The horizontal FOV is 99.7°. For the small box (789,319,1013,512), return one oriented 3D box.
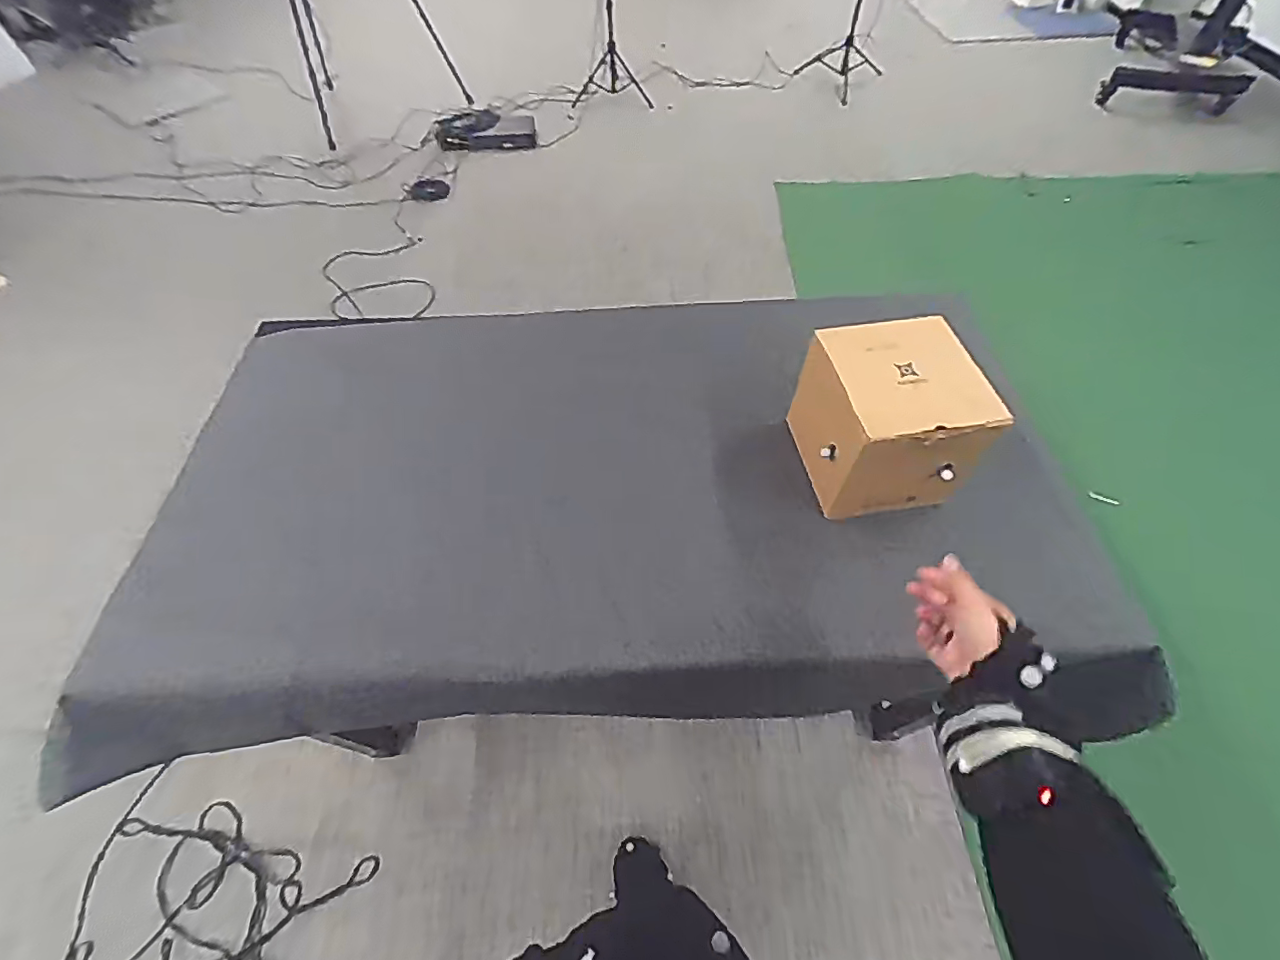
[{"bbox_3d":[0.304,-0.072,0.676,0.168,0.176,0.179,-7,55,-5],"label":"small box"}]
